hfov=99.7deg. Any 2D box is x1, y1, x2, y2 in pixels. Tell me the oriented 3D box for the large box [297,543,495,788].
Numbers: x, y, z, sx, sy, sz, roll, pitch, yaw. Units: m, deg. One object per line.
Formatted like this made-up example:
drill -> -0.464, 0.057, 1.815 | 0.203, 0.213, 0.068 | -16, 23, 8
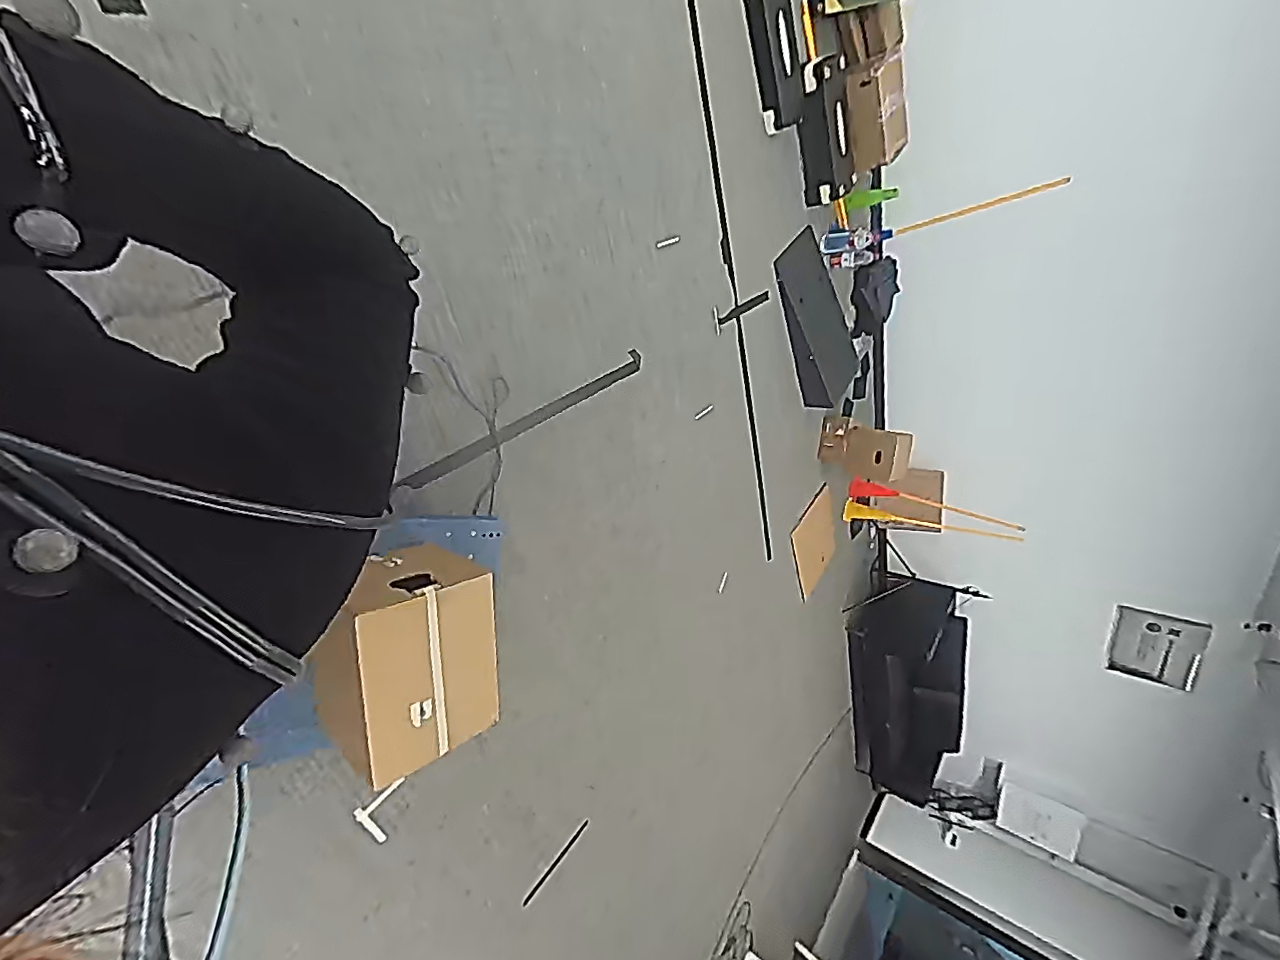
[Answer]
large box -> -0.570, 0.404, 1.283 | 0.320, 0.320, 0.408 | -13, 109, -47
